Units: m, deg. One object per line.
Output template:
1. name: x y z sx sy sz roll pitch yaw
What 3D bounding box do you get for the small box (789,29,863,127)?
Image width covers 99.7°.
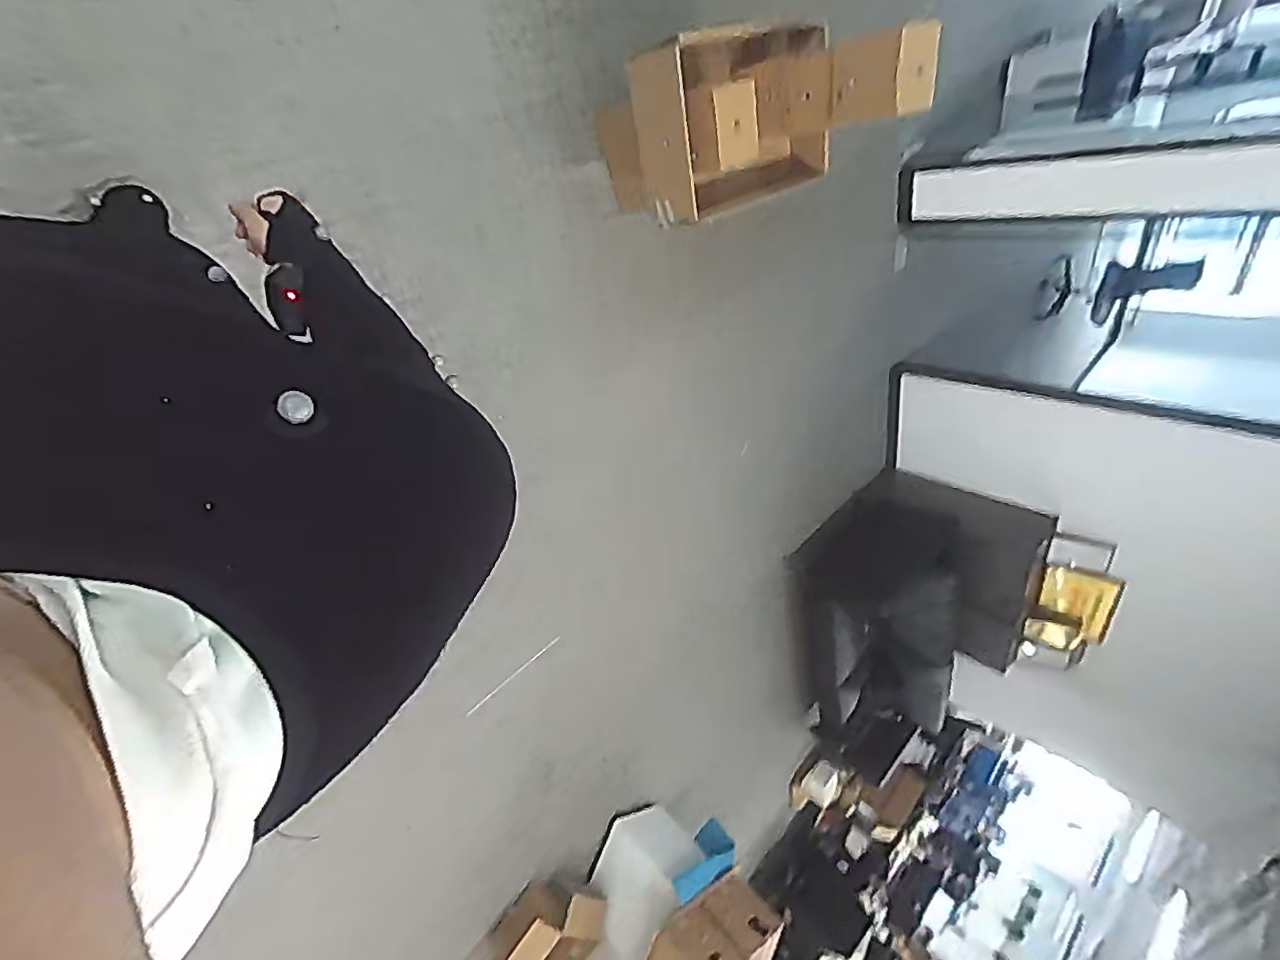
1. small box: 0.500 -1.034 1.393 0.179 0.176 0.168 -37 131 -23

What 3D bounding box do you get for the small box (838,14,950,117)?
1. small box: 0.593 -0.970 1.272 0.179 0.176 0.168 -31 127 -28
